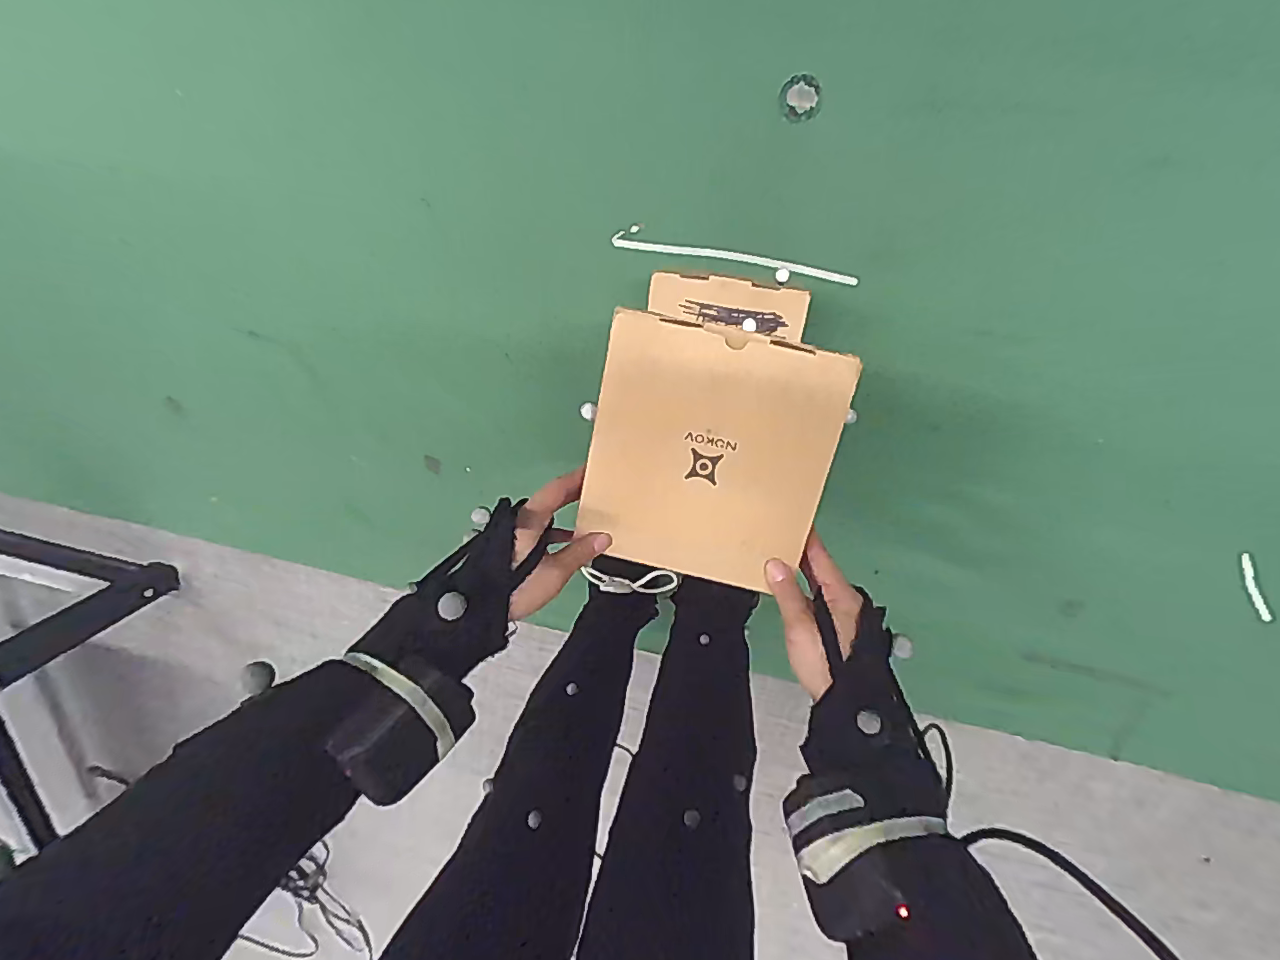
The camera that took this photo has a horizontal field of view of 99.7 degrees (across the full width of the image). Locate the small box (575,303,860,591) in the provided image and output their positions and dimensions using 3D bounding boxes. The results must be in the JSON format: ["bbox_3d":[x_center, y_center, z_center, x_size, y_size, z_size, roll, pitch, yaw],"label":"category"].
[{"bbox_3d":[0.057,-0.038,0.450,0.168,0.176,0.179,13,106,3],"label":"small box"}]
